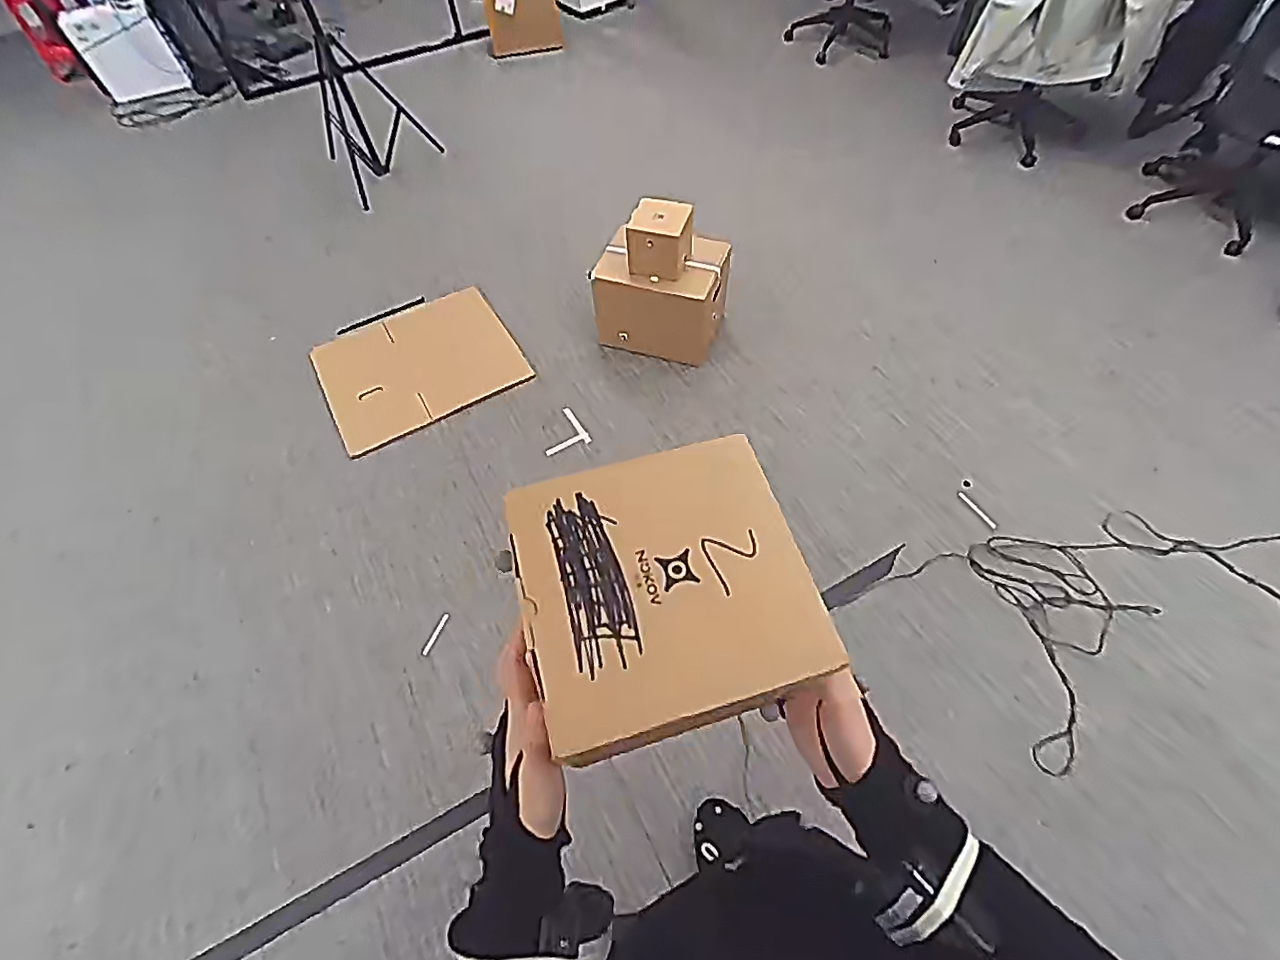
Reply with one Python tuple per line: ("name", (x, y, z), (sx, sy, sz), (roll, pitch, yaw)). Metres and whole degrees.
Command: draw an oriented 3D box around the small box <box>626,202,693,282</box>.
("small box", (0.066, -0.770, 1.758), (0.179, 0.176, 0.168), (15, 61, 11))
